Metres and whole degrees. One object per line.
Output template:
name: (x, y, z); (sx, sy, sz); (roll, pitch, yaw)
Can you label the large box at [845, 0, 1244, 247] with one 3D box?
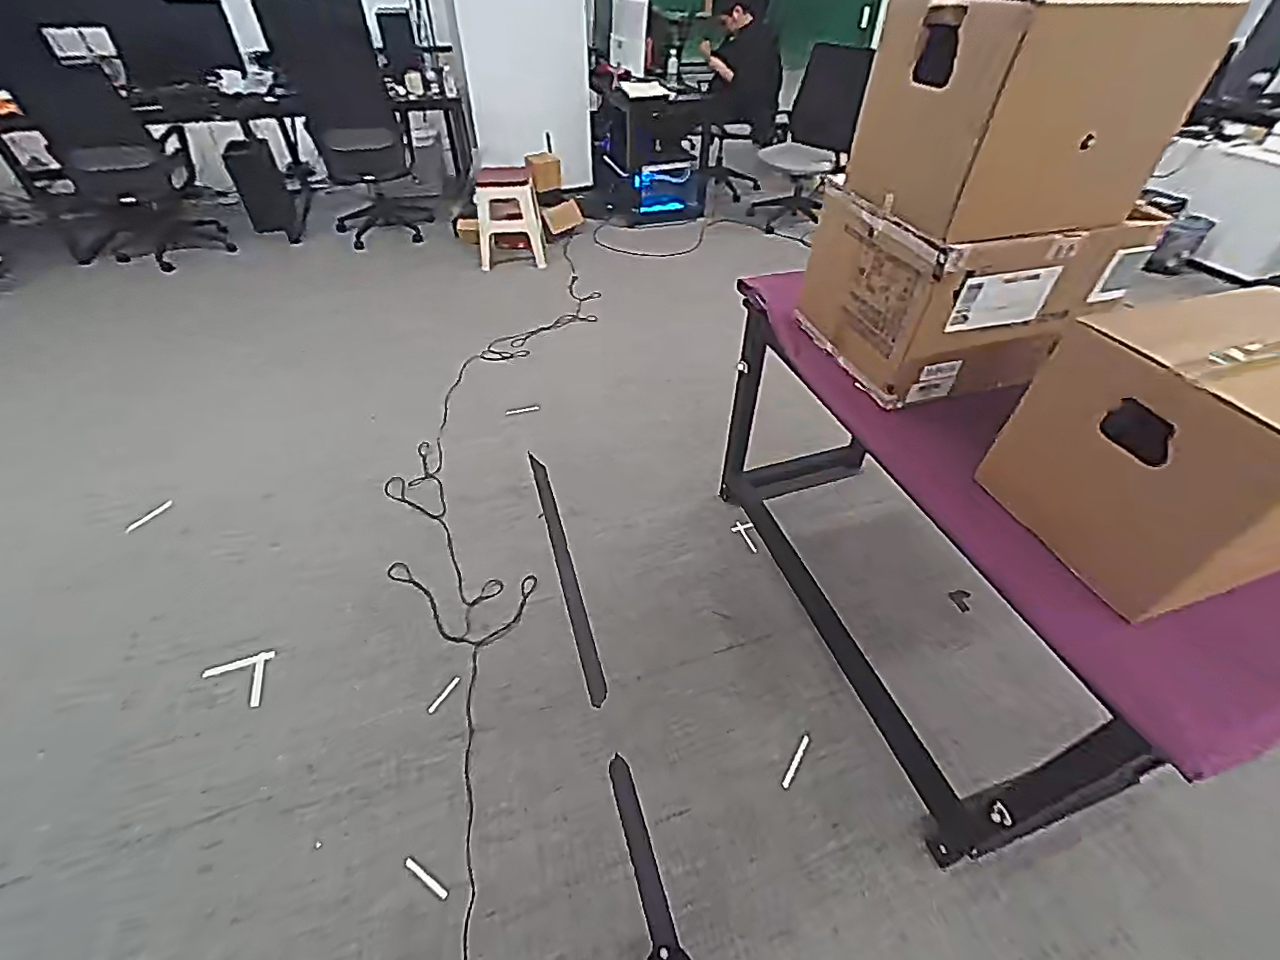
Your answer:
large box: (0.649, -0.638, 0.945); (0.408, 0.320, 0.320); (-13, 45, -13)
